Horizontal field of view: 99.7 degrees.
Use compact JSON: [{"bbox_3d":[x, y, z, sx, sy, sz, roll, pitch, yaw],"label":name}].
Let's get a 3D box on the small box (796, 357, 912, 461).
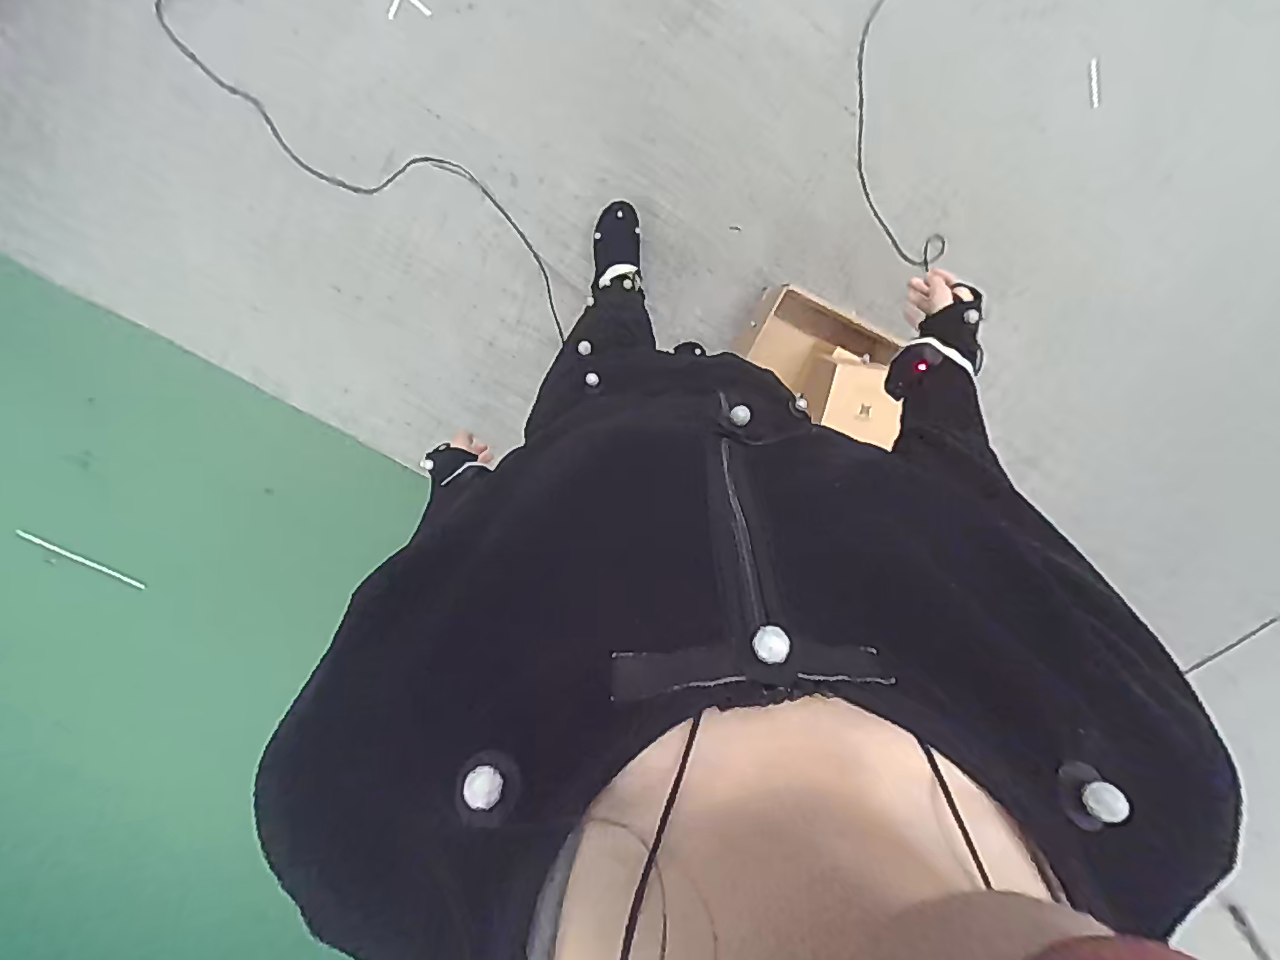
[{"bbox_3d":[0.456,-0.160,1.185,0.168,0.176,0.179,10,110,-2],"label":"small box"}]
